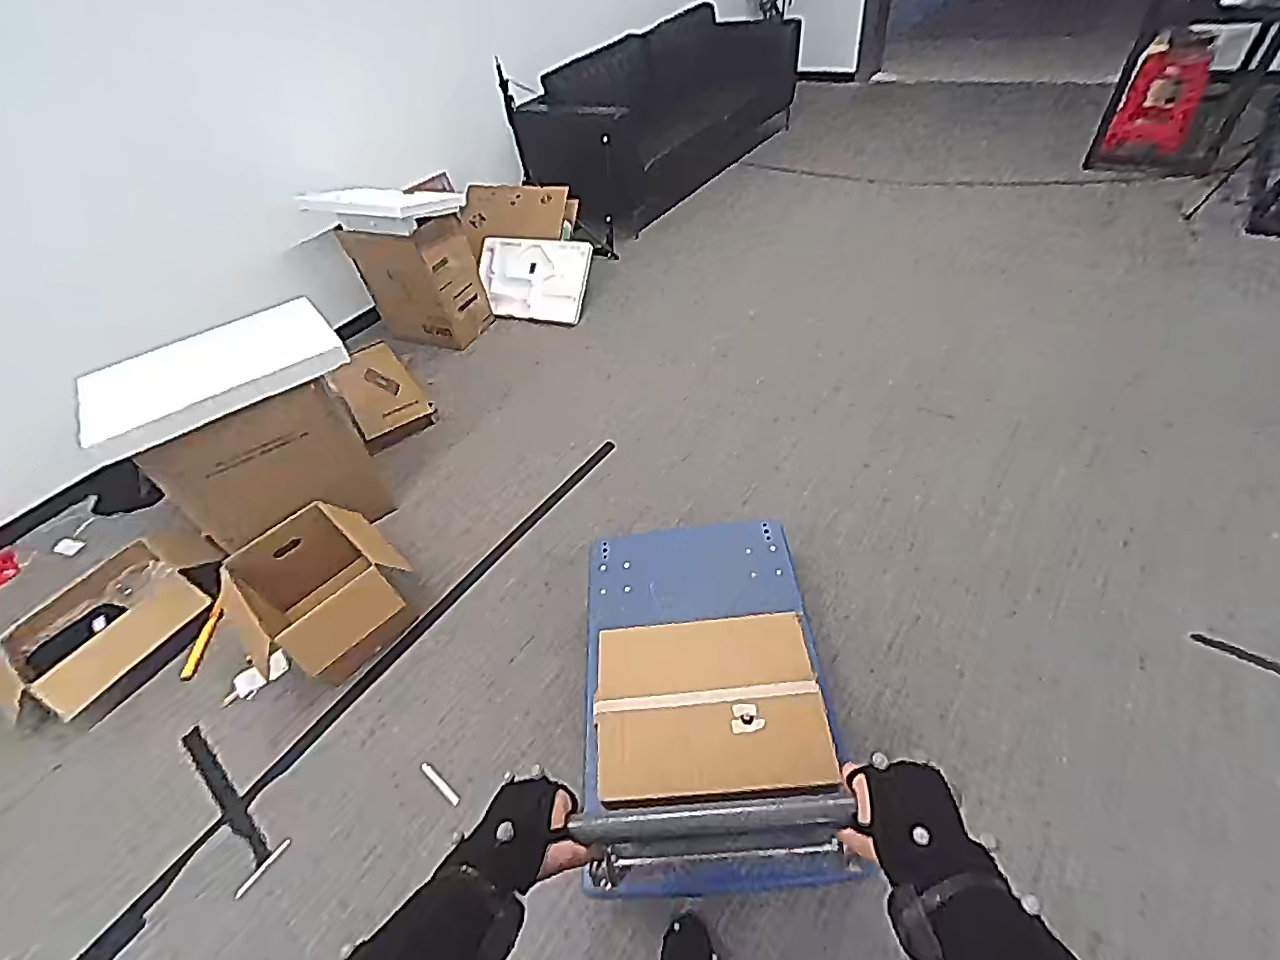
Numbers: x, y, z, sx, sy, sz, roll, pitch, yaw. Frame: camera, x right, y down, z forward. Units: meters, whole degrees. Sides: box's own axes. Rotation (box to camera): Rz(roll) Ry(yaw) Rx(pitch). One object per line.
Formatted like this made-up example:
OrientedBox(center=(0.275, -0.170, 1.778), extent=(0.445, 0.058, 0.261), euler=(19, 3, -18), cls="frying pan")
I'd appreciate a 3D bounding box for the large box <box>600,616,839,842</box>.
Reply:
OrientedBox(center=(0.138, 0.510, 1.099), extent=(0.408, 0.320, 0.320), euler=(-6, 47, 3), cls="large box")
